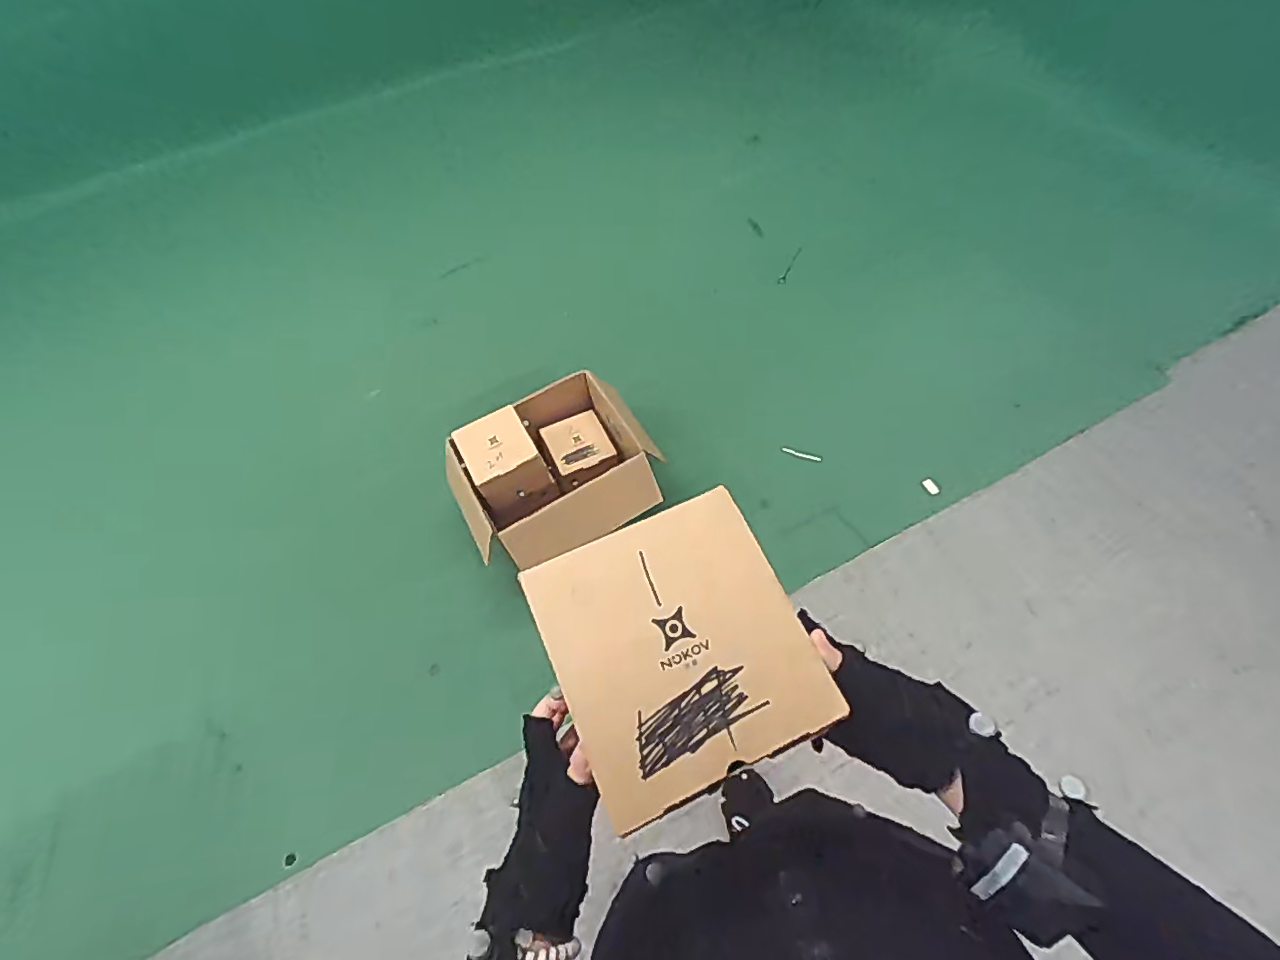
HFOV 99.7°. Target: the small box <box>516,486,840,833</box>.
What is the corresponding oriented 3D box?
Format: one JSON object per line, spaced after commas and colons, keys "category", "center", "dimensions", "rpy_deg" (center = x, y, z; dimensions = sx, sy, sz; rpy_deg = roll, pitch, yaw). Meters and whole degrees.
{"category": "small box", "center": [0.021, 0.135, 0.433], "dimensions": [0.168, 0.176, 0.179], "rpy_deg": [-23, 70, -10]}
